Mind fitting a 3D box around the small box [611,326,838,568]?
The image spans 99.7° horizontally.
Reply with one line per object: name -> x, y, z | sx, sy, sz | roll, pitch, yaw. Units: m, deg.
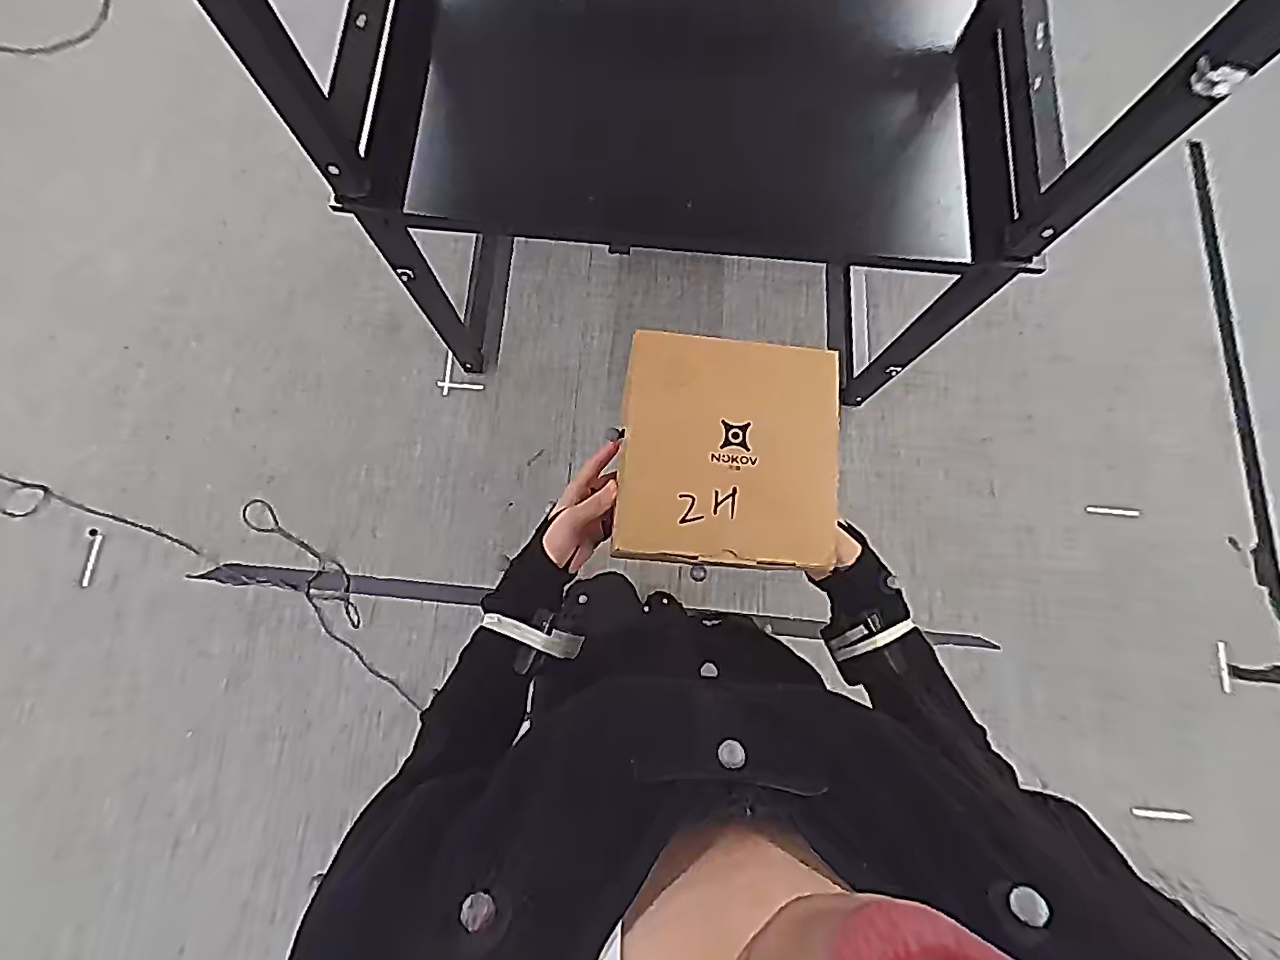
small box -> 0.064, -0.015, 0.490 | 0.168, 0.176, 0.179 | 5, 80, -4
